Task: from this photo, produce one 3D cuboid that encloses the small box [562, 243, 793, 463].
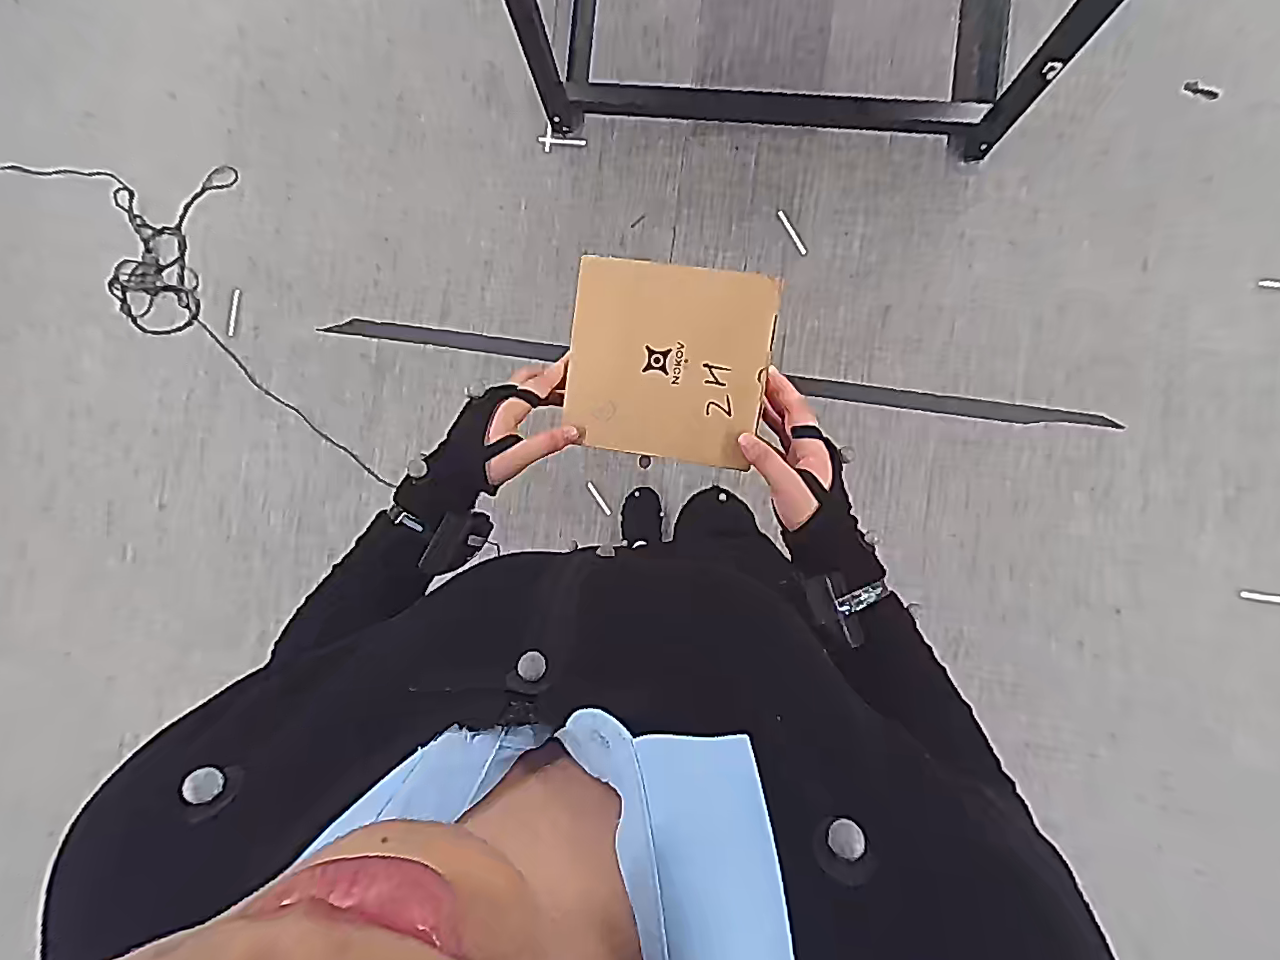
[{"bbox_3d":[0.038,-0.117,0.537,0.179,0.176,0.168,9,99,6],"label":"small box"}]
